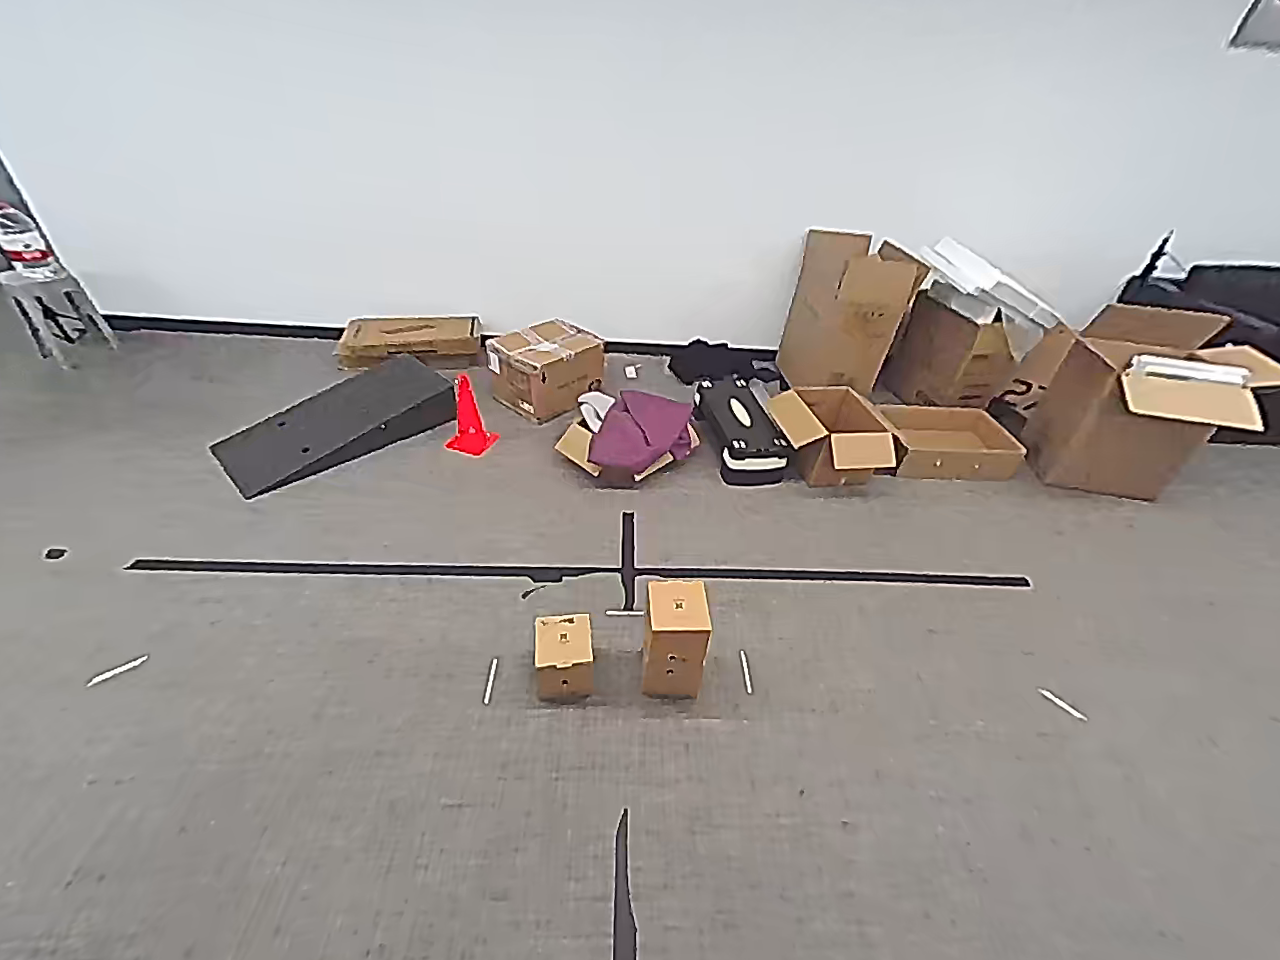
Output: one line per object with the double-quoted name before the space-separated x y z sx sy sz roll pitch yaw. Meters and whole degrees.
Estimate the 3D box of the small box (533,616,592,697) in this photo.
"small box" -0.233 0.541 1.639 0.168 0.176 0.179 -2 39 -9

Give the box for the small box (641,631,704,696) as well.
"small box" 0.096 0.548 1.668 0.179 0.176 0.168 5 38 -2

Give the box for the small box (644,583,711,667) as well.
"small box" 0.101 0.420 1.569 0.168 0.176 0.179 0 40 -5
